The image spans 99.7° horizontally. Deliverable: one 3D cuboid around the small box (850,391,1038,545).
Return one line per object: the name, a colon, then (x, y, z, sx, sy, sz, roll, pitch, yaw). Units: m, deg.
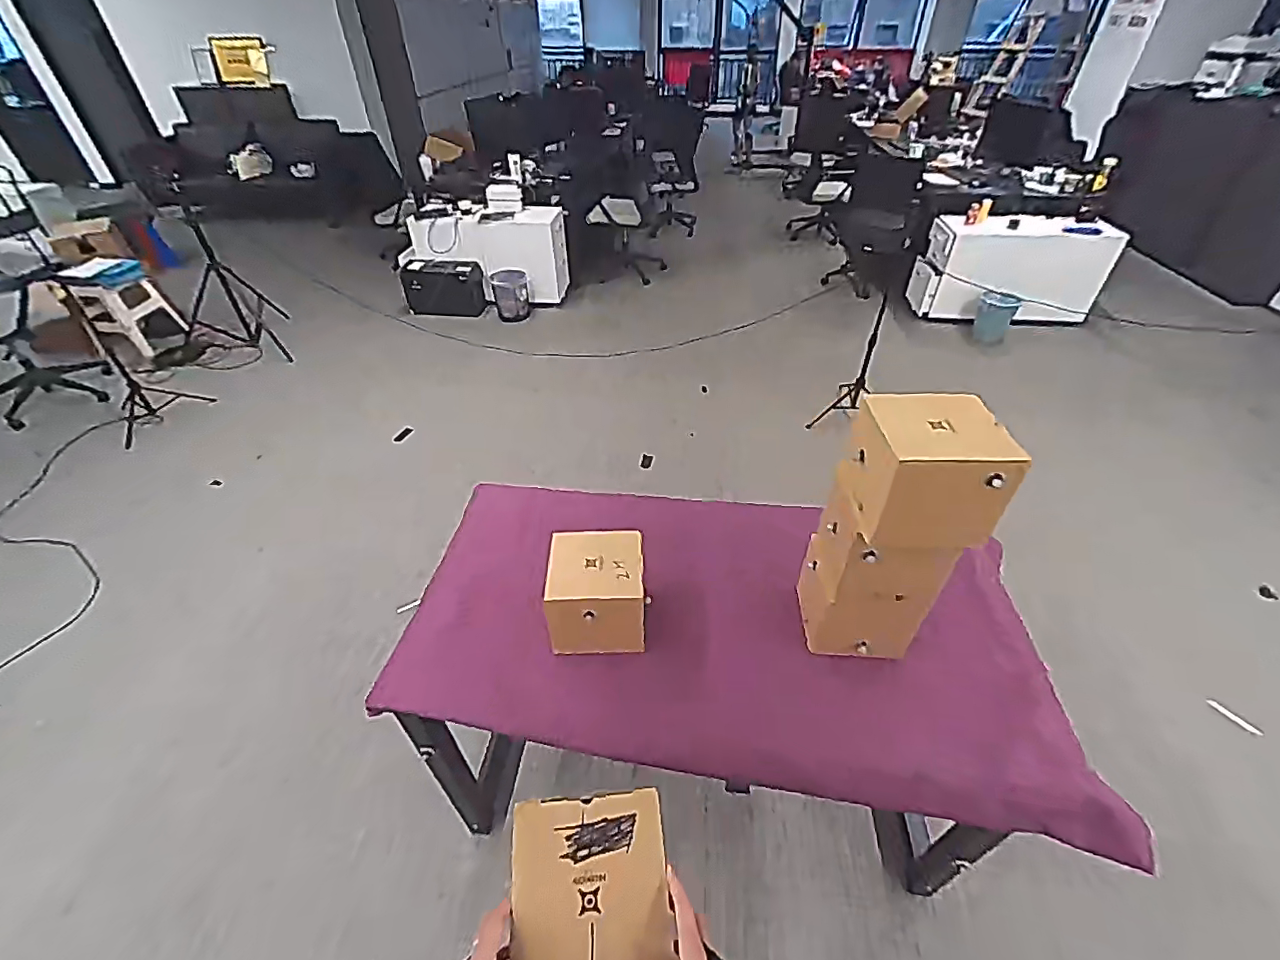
small box: (0.426, -0.017, 0.800, 0.179, 0.176, 0.168, 0, 40, 1)

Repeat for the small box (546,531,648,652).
small box: (-0.075, 0.216, 1.038, 0.179, 0.176, 0.168, -1, 40, -1)

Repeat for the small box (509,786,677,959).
small box: (-0.055, 0.468, 0.623, 0.168, 0.176, 0.179, -2, 55, -6)

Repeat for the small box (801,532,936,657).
small box: (0.421, 0.220, 1.027, 0.179, 0.176, 0.168, 2, 40, 3)
